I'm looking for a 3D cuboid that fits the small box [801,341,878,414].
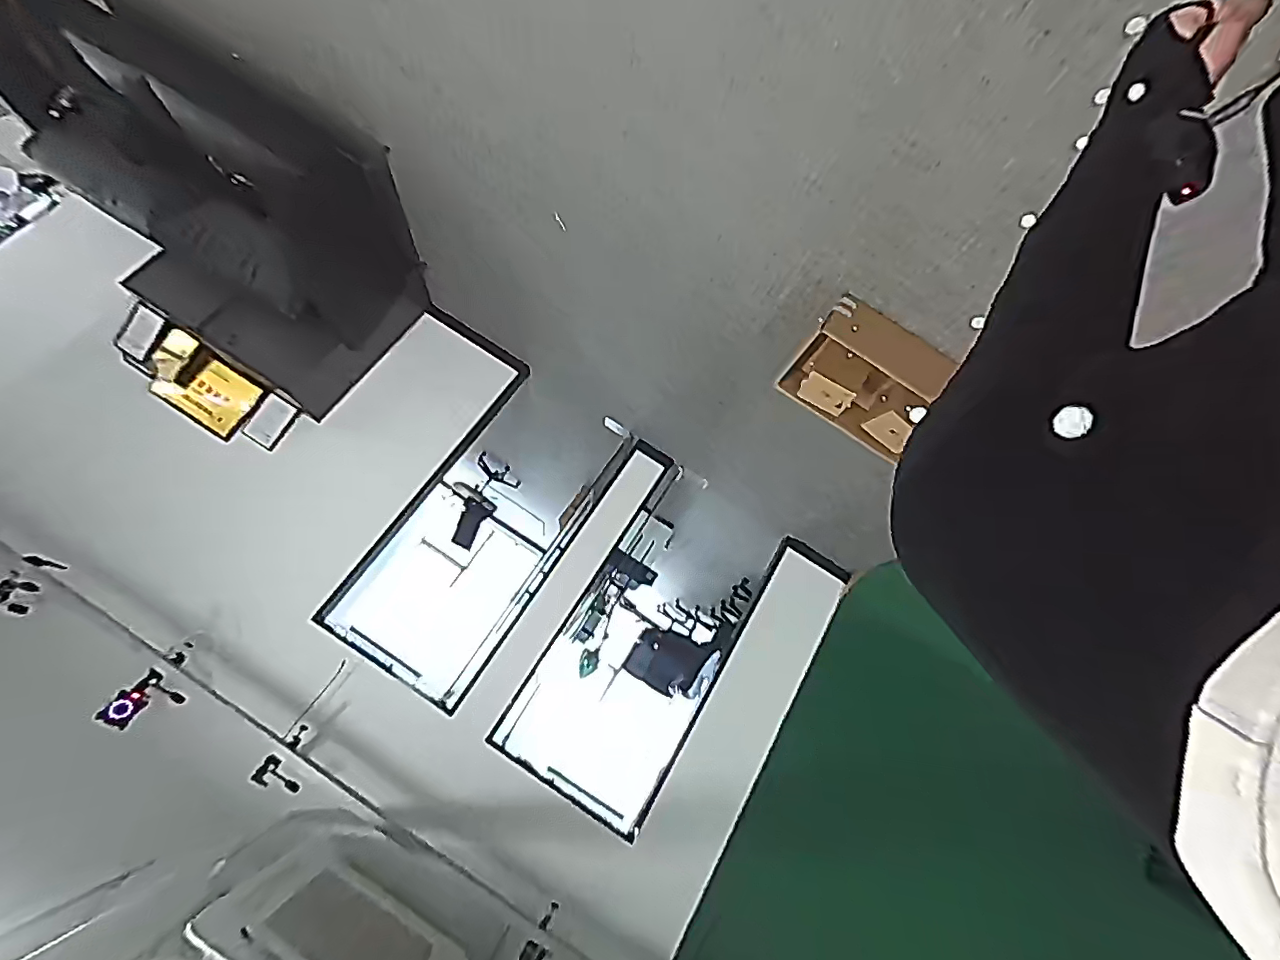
[{"bbox_3d":[0.723,-0.377,1.962,0.179,0.176,0.168,32,160,6],"label":"small box"}]
